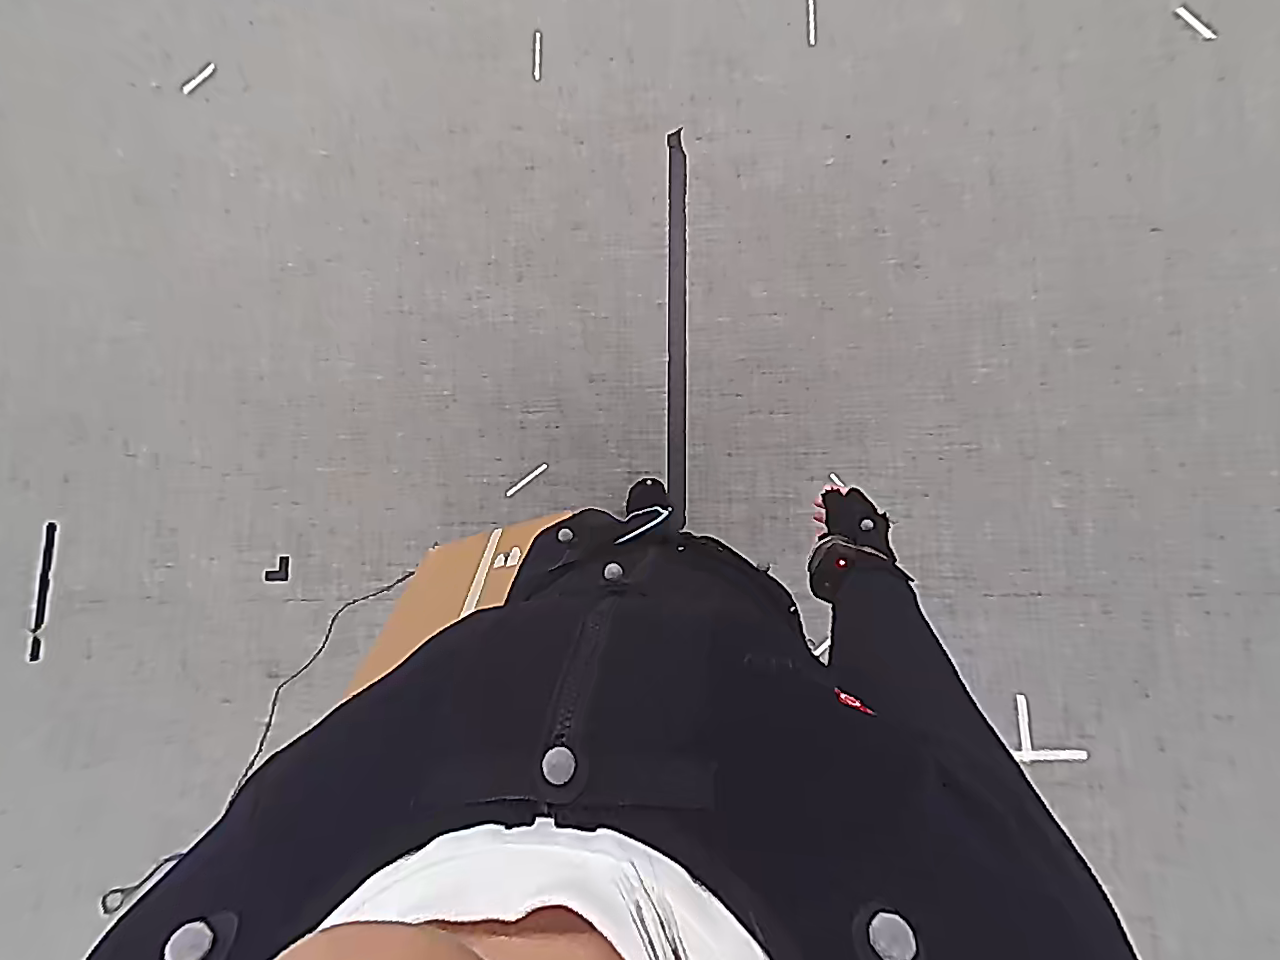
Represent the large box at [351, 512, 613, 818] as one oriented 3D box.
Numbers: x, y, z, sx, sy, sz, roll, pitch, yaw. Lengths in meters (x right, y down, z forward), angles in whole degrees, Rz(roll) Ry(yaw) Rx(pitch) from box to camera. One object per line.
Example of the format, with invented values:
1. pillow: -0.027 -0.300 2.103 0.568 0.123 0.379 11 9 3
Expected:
1. large box: -0.239 0.313 0.999 0.320 0.408 0.320 -14 113 5
